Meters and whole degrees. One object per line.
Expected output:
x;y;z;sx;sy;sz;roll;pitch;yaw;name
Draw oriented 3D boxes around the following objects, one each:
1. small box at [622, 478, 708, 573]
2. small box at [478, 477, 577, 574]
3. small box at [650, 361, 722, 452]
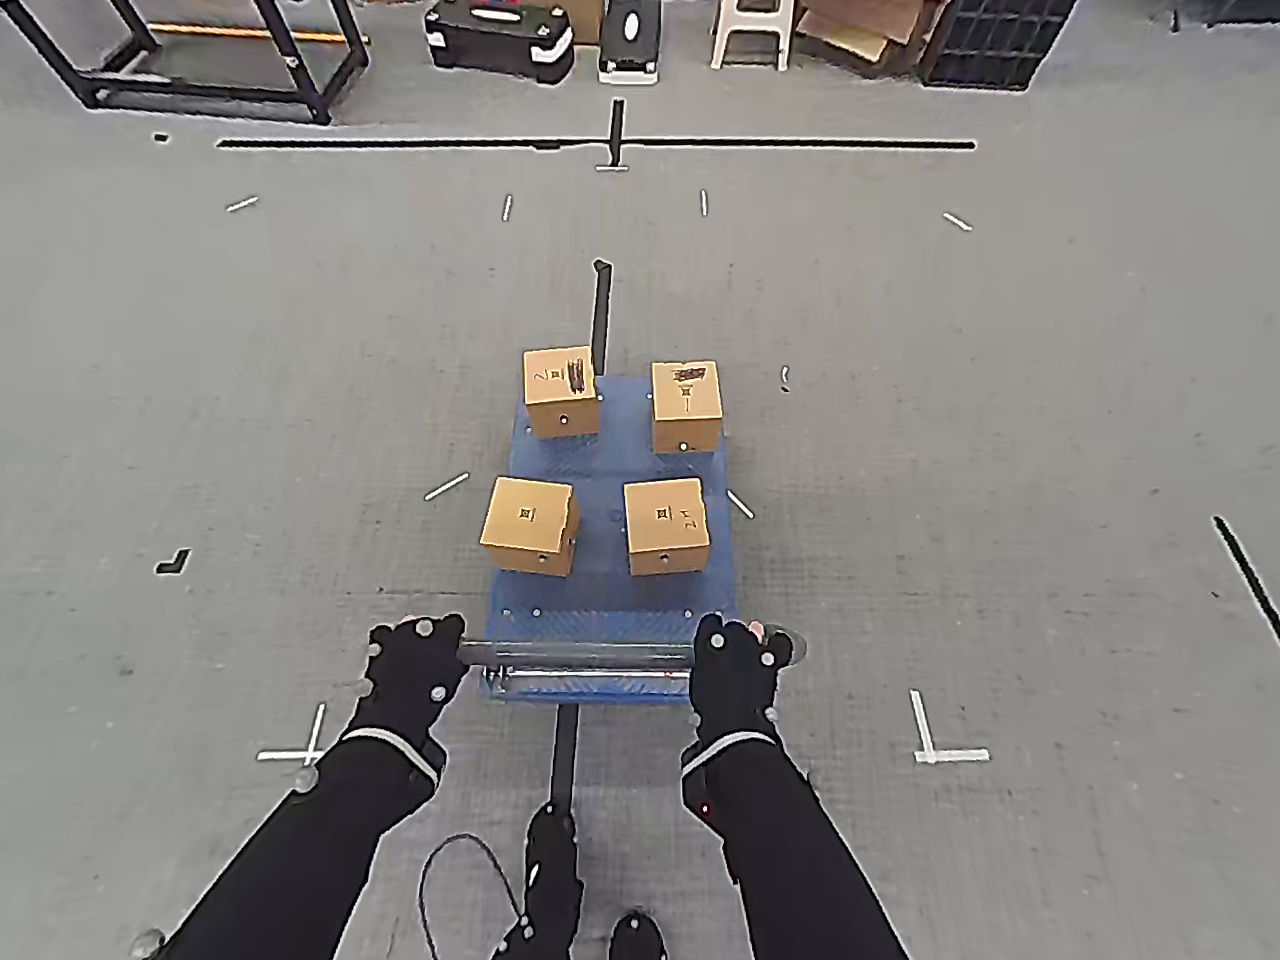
0.054;0.111;1.249;0.179;0.176;0.168;-5;63;-2;small box
-0.250;0.110;1.252;0.179;0.176;0.168;7;63;2;small box
0.112;-0.188;1.400;0.168;0.176;0.179;-2;64;-1;small box
